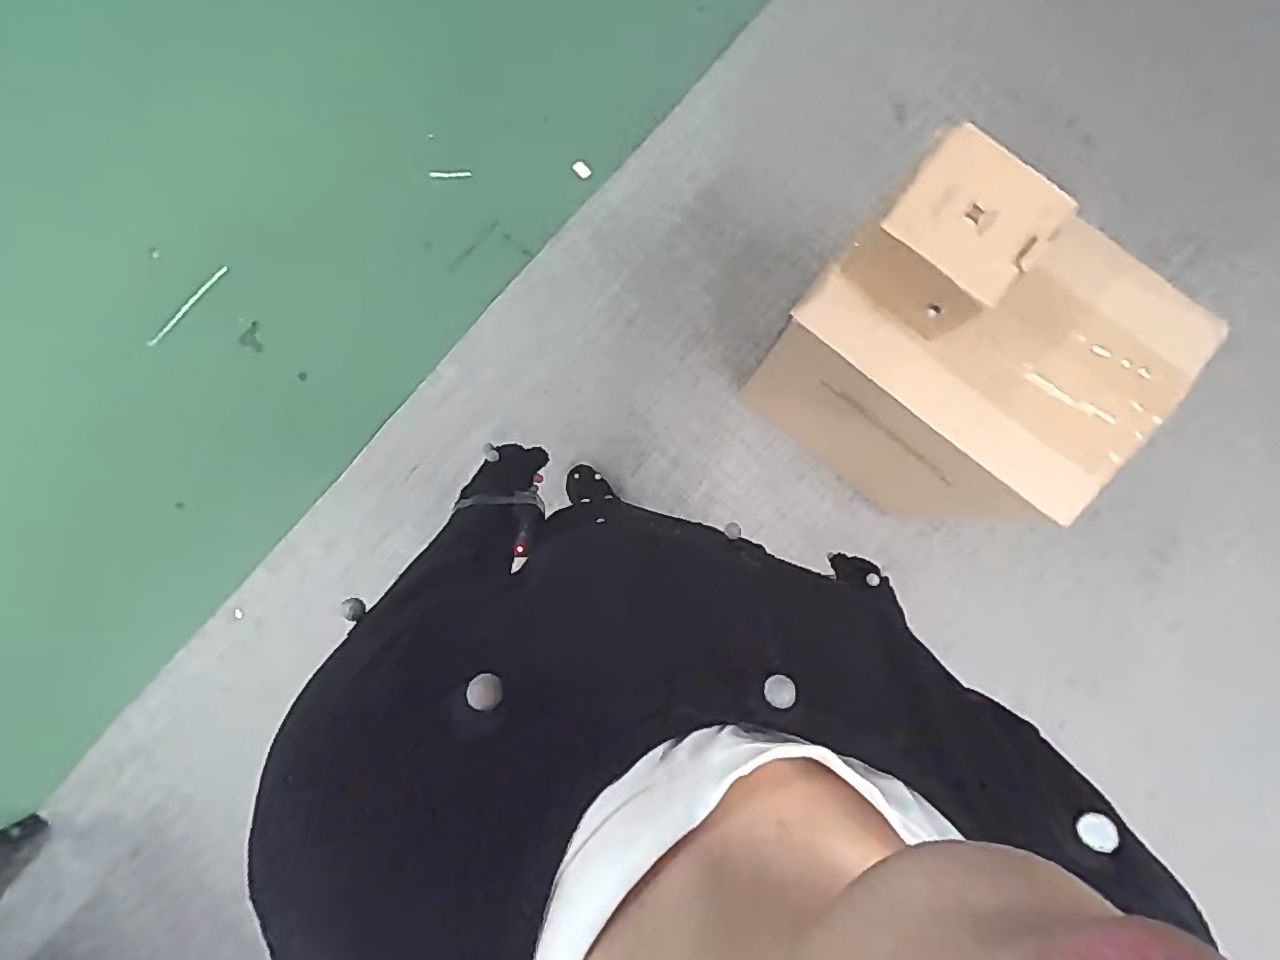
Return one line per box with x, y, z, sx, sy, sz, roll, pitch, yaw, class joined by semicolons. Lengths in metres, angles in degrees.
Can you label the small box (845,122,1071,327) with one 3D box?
0.424;-0.336;0.756;0.179;0.176;0.168;39;93;4;small box
